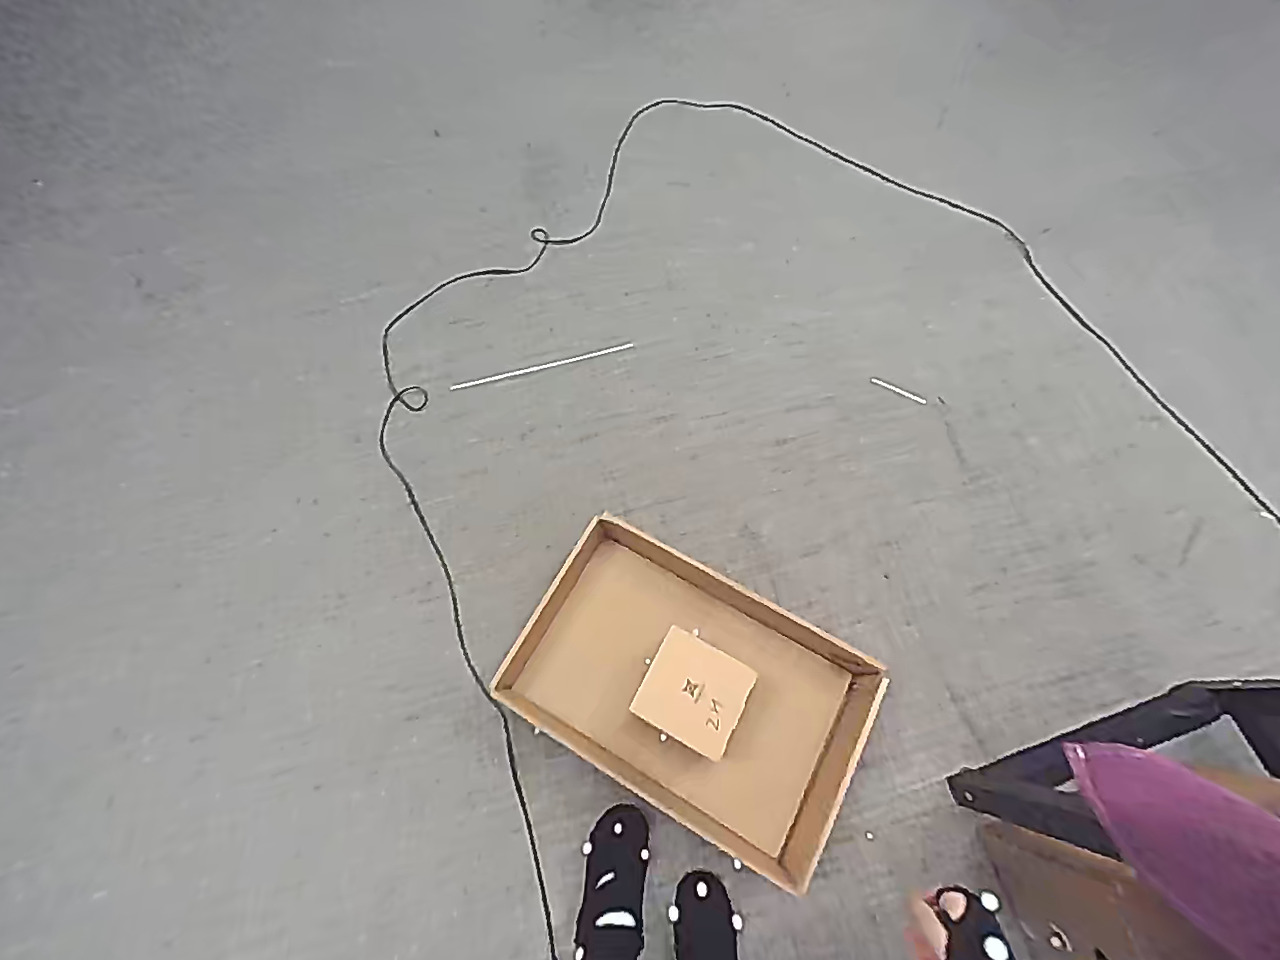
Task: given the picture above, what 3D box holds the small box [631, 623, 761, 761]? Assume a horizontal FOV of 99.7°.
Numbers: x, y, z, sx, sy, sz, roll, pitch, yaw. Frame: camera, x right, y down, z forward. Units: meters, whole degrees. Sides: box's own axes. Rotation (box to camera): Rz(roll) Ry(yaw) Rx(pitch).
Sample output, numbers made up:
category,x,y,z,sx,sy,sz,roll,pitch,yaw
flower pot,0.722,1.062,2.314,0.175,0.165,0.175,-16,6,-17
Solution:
category,x,y,z,sx,sy,sz,roll,pitch,yaw
small box,0.100,0.390,1.006,0.179,0.176,0.168,27,73,12
